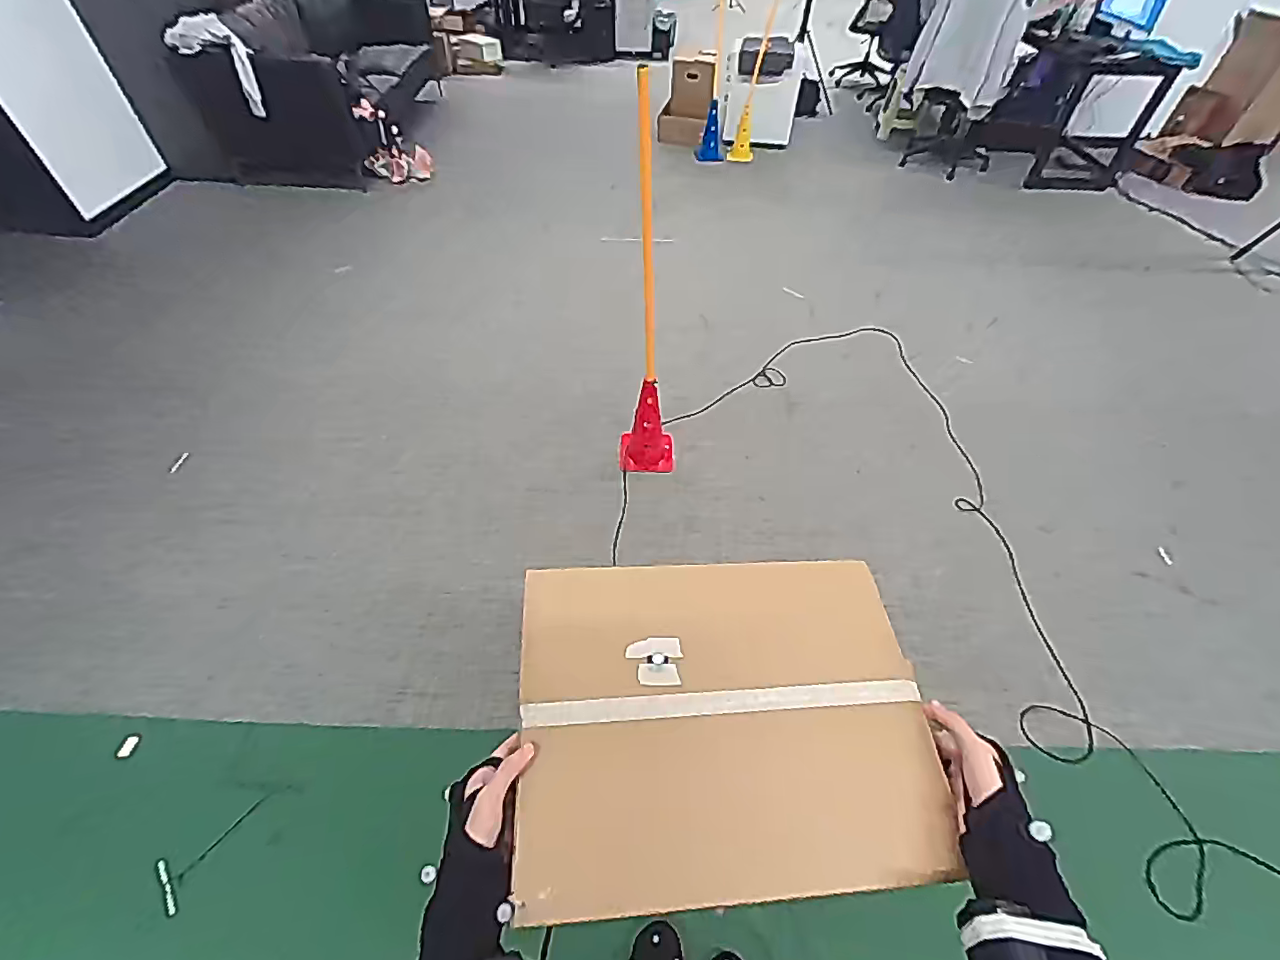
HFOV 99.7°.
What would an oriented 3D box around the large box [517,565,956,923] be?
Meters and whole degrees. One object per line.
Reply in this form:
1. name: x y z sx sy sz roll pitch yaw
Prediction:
1. large box: 0.072 0.319 0.675 0.408 0.320 0.320 -1 54 -6
